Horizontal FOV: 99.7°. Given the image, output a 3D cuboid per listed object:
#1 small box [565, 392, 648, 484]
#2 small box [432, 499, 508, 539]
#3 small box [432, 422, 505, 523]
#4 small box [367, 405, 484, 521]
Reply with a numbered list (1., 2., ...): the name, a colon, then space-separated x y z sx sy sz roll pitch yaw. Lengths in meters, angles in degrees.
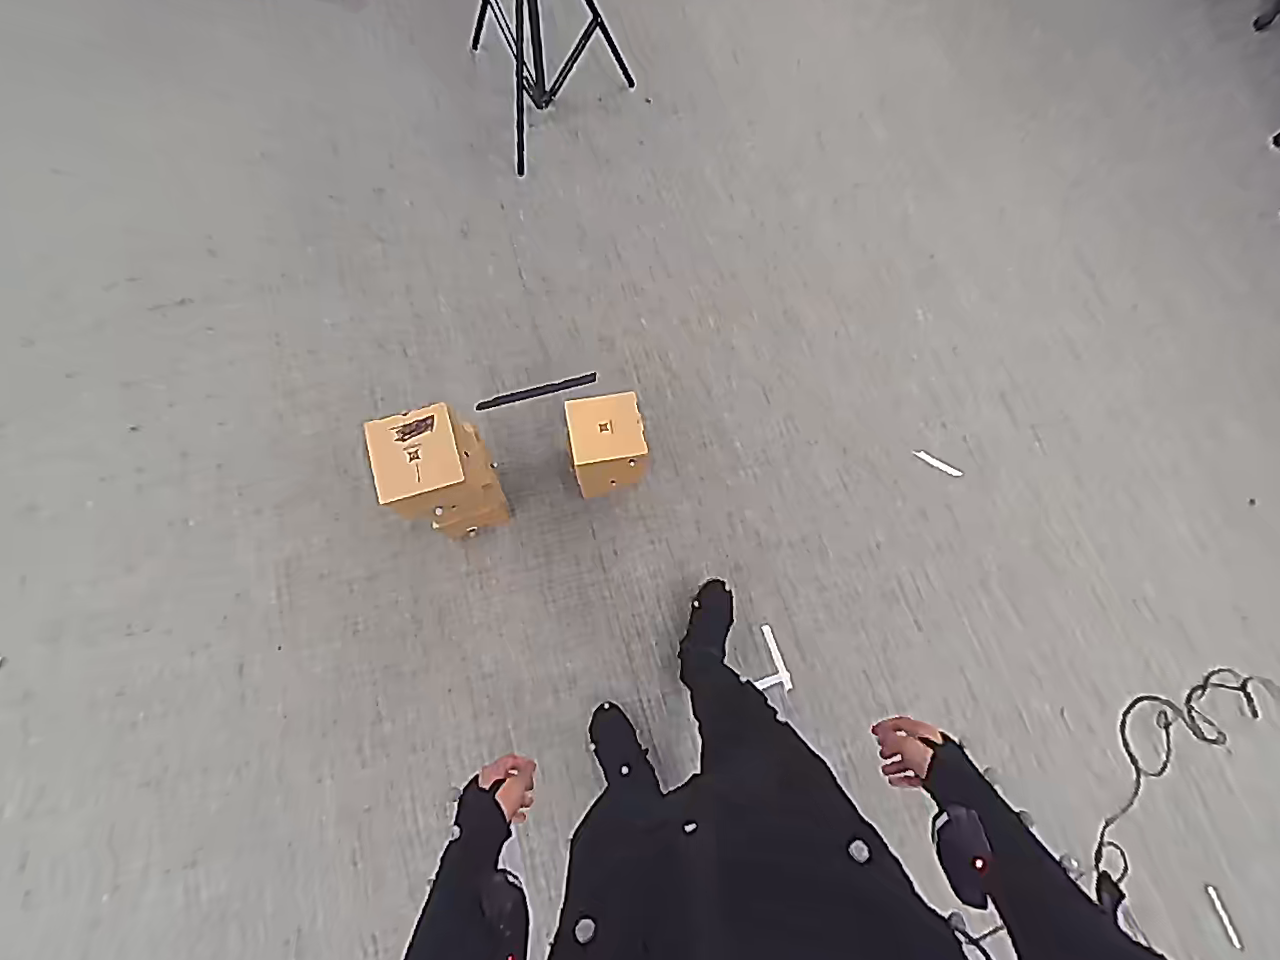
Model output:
1. small box: -0.084 -0.099 1.346 0.179 0.176 0.168 -10 75 -7
2. small box: -0.465 0.042 1.447 0.168 0.176 0.179 -19 76 -9
3. small box: -0.443 -0.010 1.293 0.179 0.176 0.168 -20 76 -9
4. small box: -0.440 -0.030 1.128 0.168 0.176 0.179 -16 76 -7
